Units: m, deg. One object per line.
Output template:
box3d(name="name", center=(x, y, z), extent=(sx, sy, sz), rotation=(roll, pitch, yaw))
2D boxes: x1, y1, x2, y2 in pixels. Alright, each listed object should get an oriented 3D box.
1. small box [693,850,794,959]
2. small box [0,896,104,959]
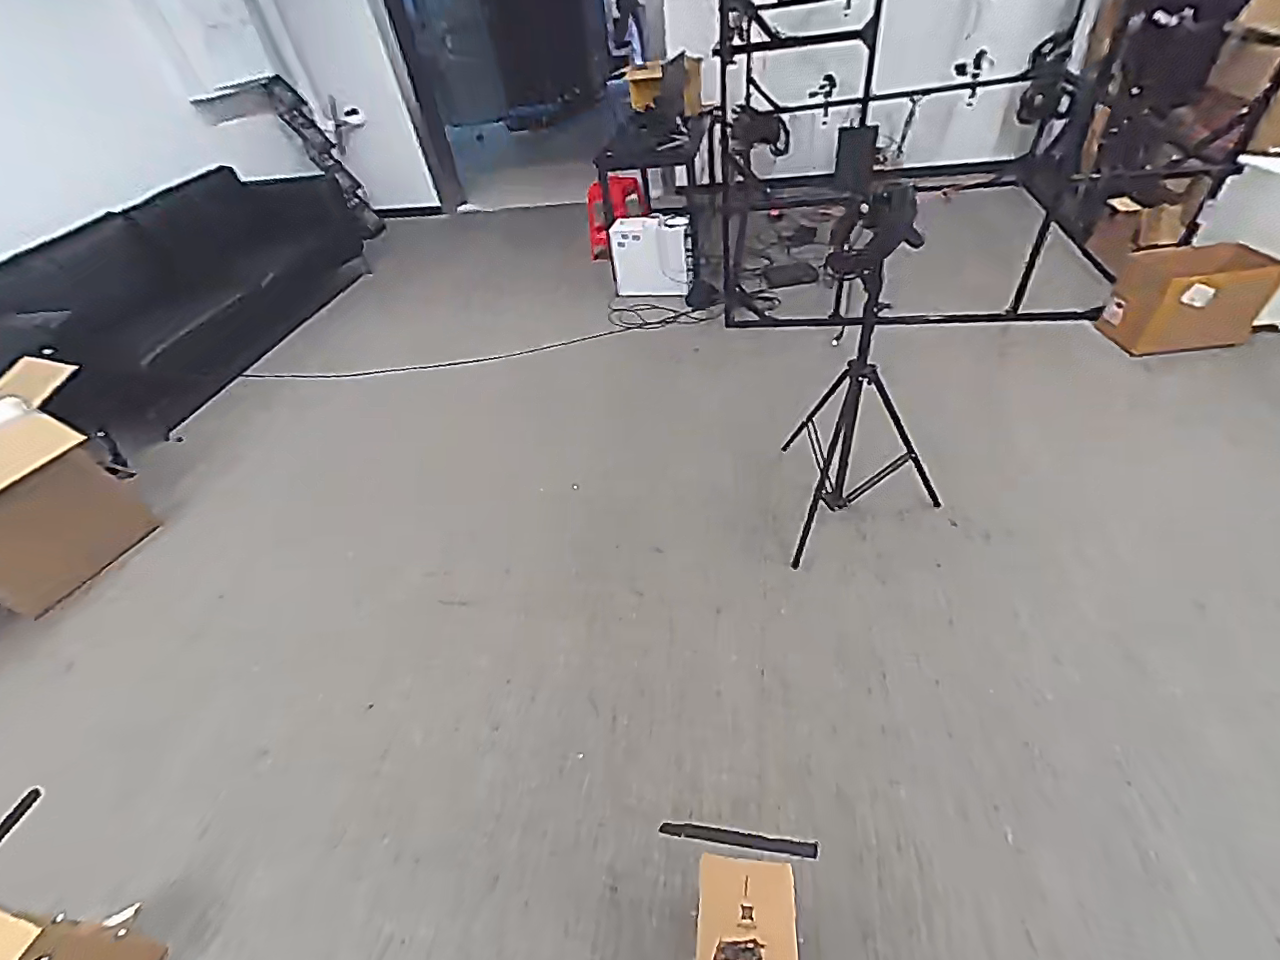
box3d(name="small box", center=(0.187, 0.801, 0.976), extent=(0.168, 0.176, 0.179), rotation=(1, 43, 10))
box3d(name="small box", center=(-1.223, 0.958, 1.058), extent=(0.168, 0.176, 0.179), rotation=(5, 46, 16))
